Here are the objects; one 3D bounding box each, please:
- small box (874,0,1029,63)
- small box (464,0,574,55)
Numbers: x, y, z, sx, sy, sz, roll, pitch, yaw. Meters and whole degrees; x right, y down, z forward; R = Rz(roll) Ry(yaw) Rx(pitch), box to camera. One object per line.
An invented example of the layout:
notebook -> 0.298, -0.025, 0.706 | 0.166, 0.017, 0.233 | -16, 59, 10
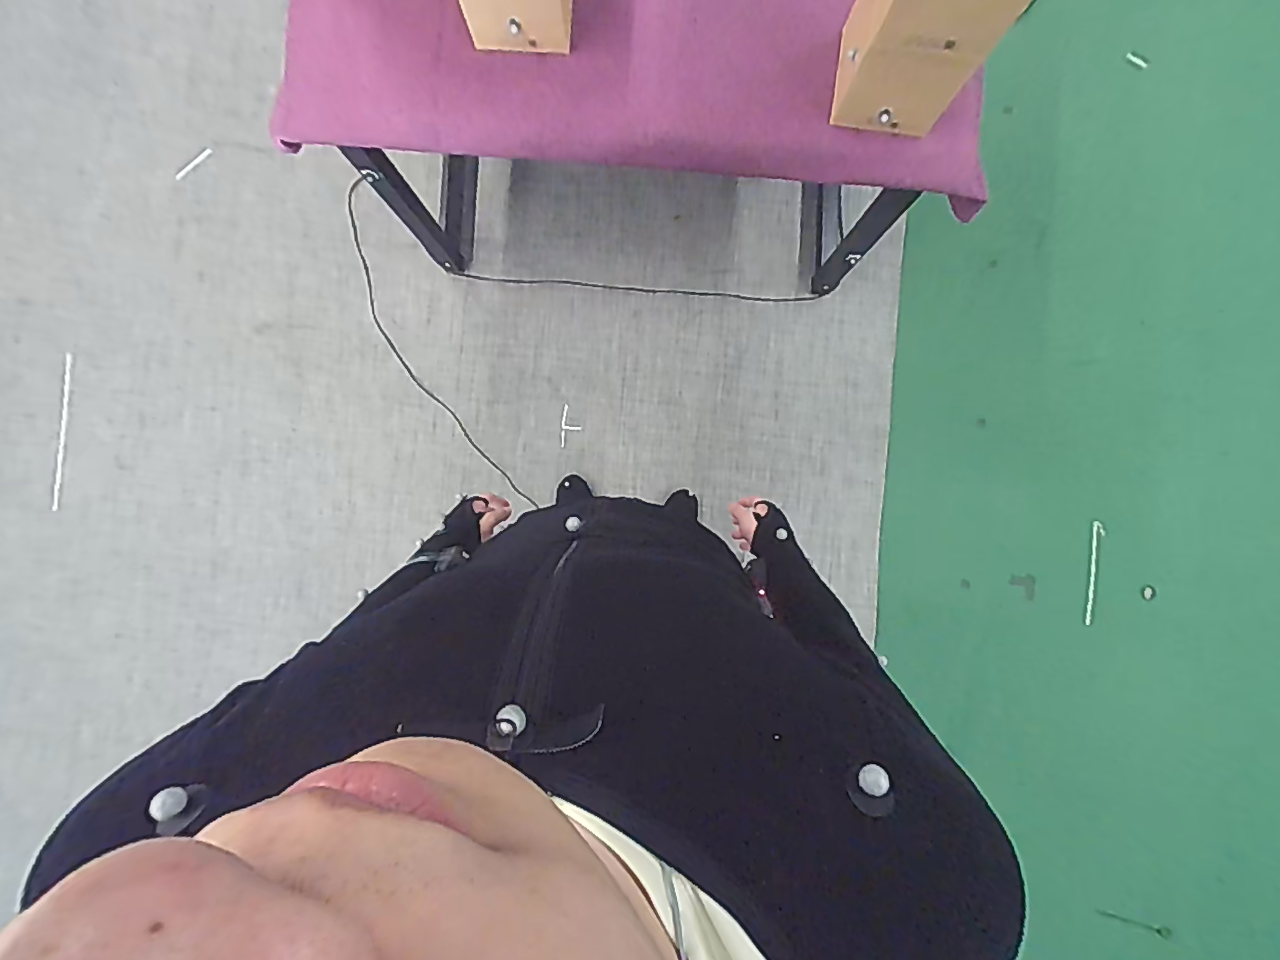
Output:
small box -> 0.422, -0.694, 0.695 | 0.168, 0.176, 0.179 | 9, 87, 2
small box -> -0.198, -0.834, 0.862 | 0.168, 0.176, 0.179 | 3, 89, 0
